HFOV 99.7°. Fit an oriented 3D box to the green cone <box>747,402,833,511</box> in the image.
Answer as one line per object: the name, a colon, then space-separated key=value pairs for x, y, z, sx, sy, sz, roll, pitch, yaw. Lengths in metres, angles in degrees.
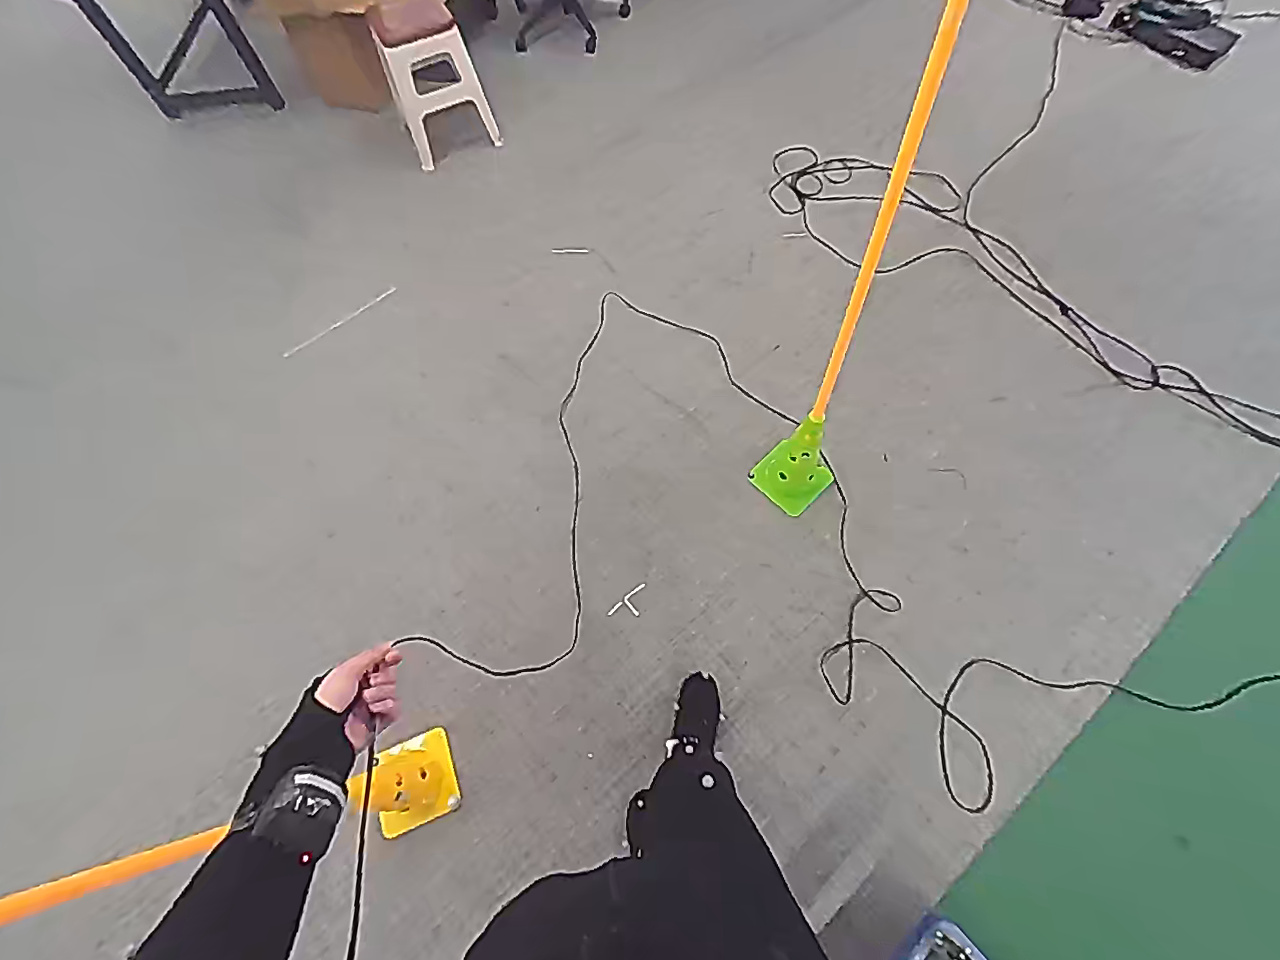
green cone: x=0.454 y=-0.097 z=1.509 sx=0.202 sy=0.368 sz=0.200 roll=-42 pitch=69 yaw=-16
